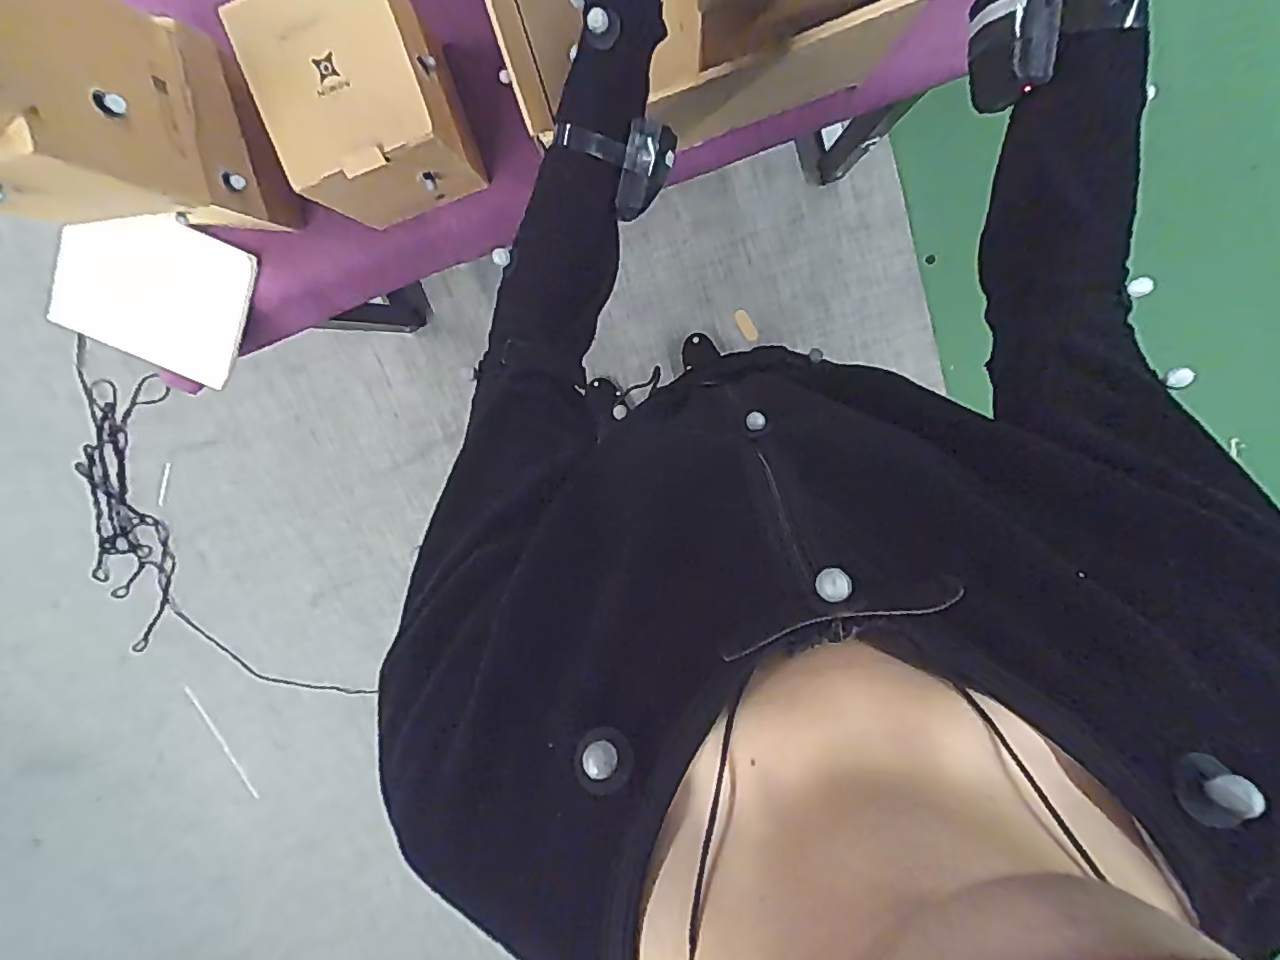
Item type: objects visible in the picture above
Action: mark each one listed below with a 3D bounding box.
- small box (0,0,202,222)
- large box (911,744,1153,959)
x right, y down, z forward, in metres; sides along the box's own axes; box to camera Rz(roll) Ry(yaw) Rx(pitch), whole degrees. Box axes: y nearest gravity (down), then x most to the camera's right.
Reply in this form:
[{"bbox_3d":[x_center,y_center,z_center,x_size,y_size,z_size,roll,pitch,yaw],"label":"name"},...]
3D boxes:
[{"bbox_3d":[-0.541,-0.341,0.480,0.179,0.176,0.168,-4,103,5],"label":"small box"},{"bbox_3d":[1.085,1.055,1.547,0.408,0.320,0.320,-32,100,9],"label":"large box"}]
